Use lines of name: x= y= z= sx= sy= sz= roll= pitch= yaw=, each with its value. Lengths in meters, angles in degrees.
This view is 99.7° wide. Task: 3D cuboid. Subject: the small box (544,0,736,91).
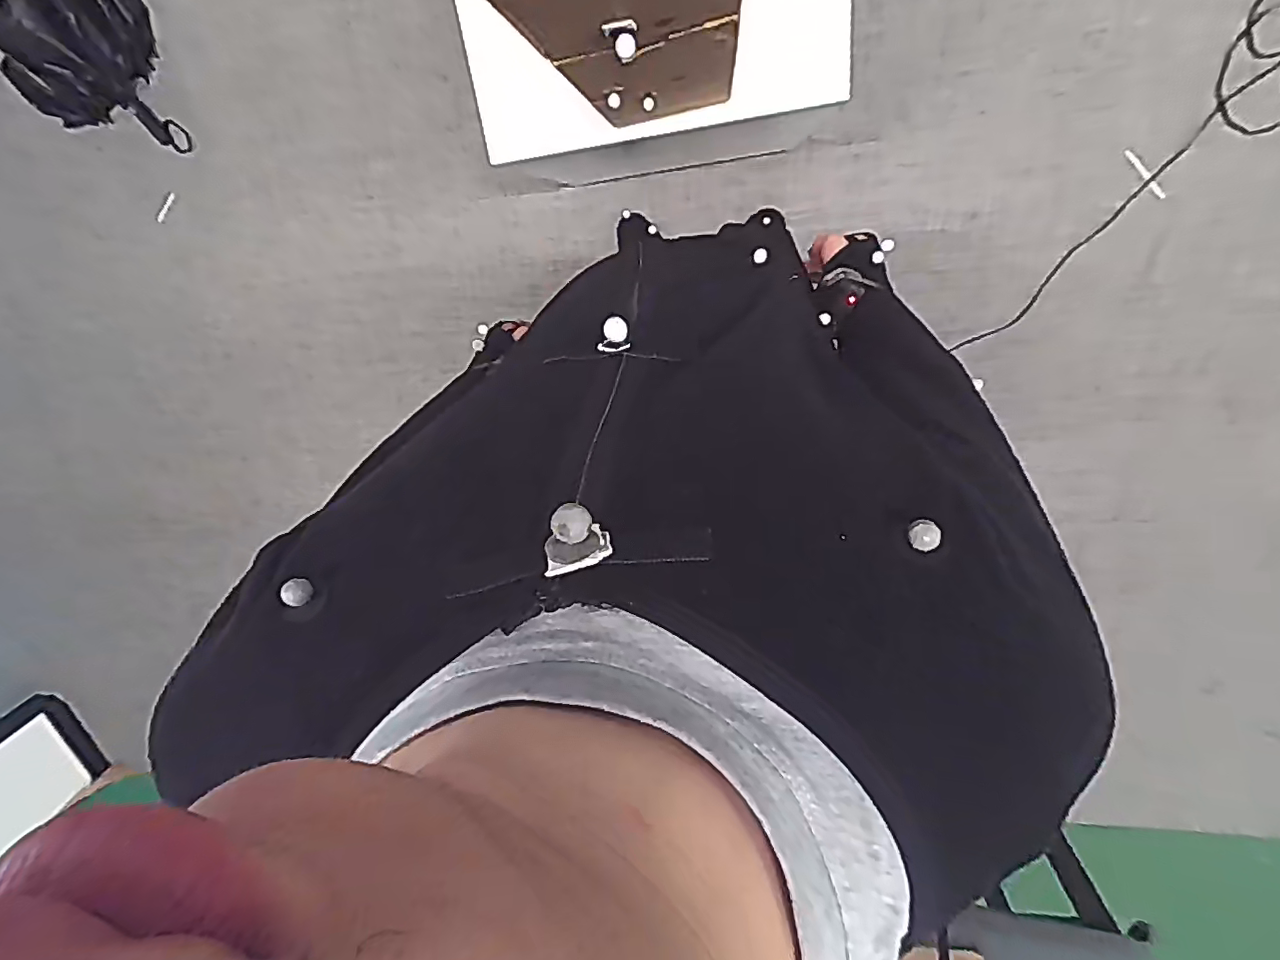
small box: x=-0.004 y=-0.480 z=0.488 sx=0.168 sy=0.176 sz=0.179 roll=-7 pitch=112 yaw=10

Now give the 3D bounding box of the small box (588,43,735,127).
small box: x=0.017 y=-0.549 z=0.637 sx=0.168 sy=0.176 sz=0.179 roll=-8 pitch=113 yaw=12

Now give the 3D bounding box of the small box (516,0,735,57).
small box: x=-0.023 y=-0.413 z=0.341 sx=0.168 sy=0.176 sz=0.179 roll=-7 pitch=114 yaw=12
